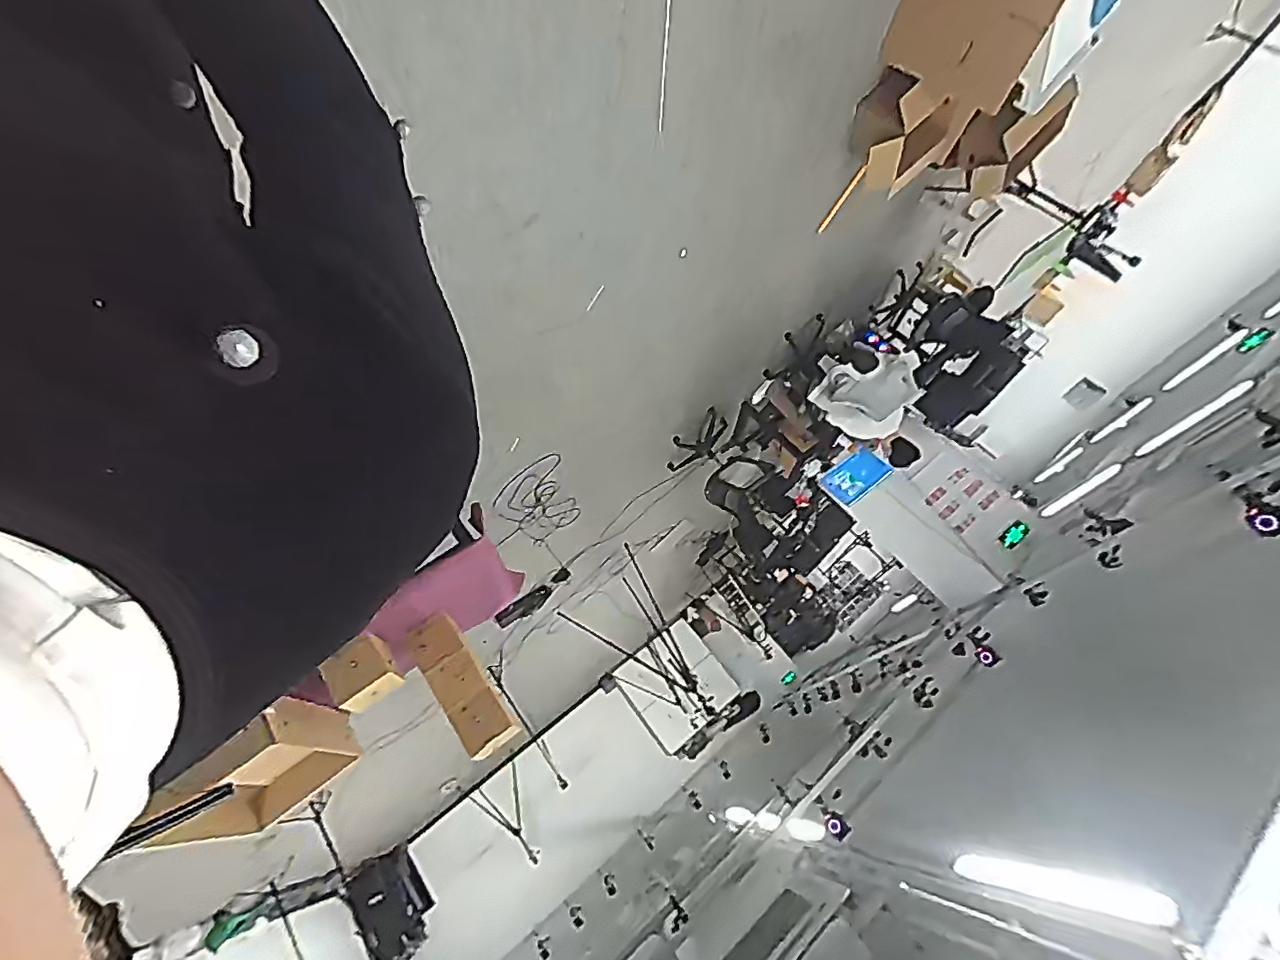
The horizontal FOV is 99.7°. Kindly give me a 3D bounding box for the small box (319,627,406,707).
[{"bbox_3d":[-0.895,0.599,1.743,0.168,0.176,0.179,-33,158,-20],"label":"small box"}]

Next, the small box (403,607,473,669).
[{"bbox_3d":[-0.750,0.598,2.008,0.168,0.176,0.179,-33,158,-19],"label":"small box"}]

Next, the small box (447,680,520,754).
[{"bbox_3d":[-0.548,0.826,1.893,0.168,0.176,0.179,-33,157,-18],"label":"small box"}]

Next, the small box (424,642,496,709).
[{"bbox_3d":[-0.649,0.708,1.947,0.168,0.176,0.179,-34,158,-19],"label":"small box"}]
